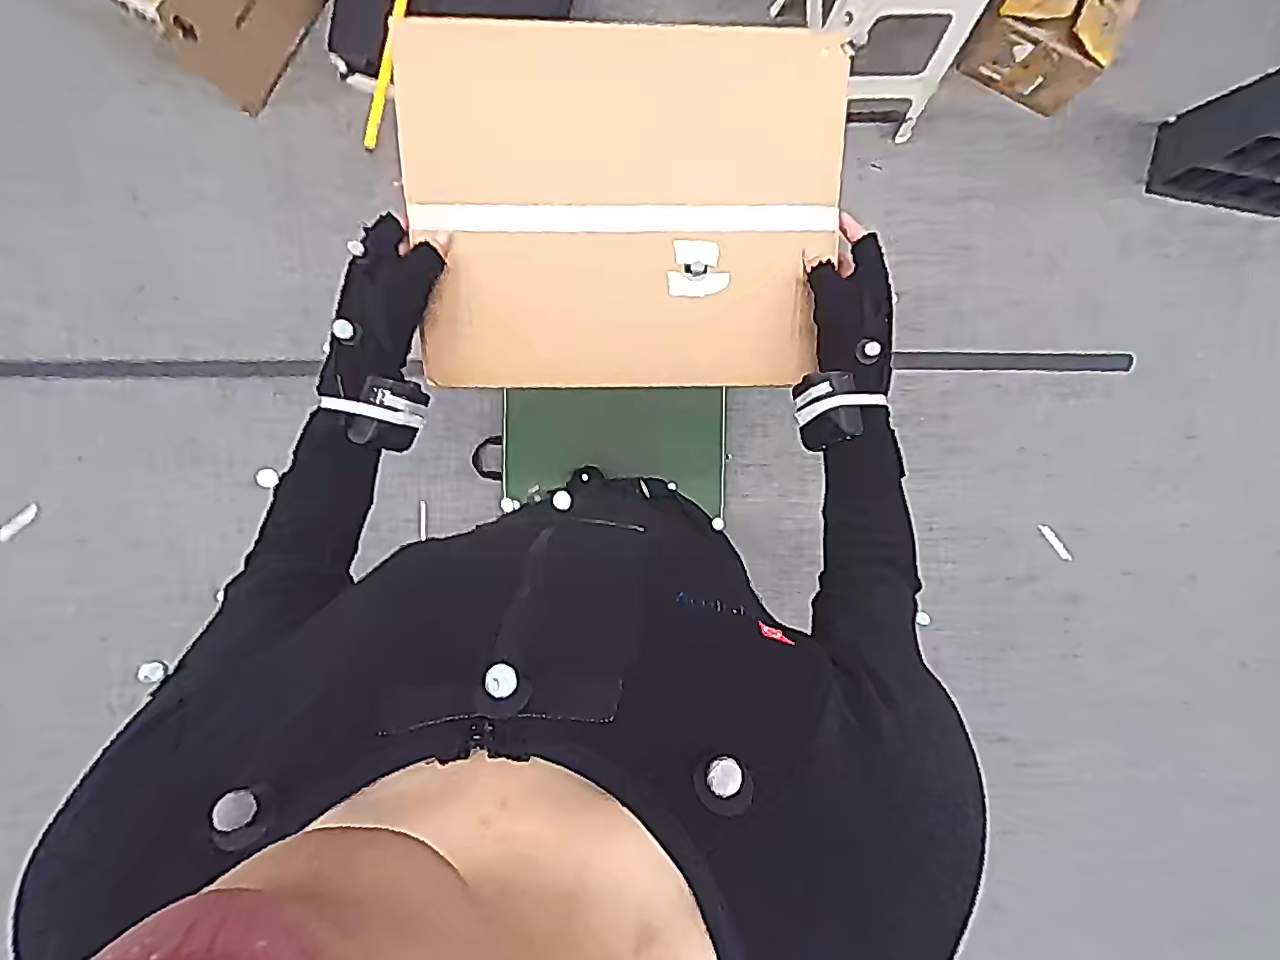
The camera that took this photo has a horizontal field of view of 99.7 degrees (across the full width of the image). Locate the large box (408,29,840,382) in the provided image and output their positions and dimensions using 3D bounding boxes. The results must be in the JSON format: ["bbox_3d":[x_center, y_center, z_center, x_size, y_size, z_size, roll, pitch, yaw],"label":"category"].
[{"bbox_3d":[-0.019,-0.291,0.671,0.408,0.320,0.320,-1,104,-3],"label":"large box"}]
